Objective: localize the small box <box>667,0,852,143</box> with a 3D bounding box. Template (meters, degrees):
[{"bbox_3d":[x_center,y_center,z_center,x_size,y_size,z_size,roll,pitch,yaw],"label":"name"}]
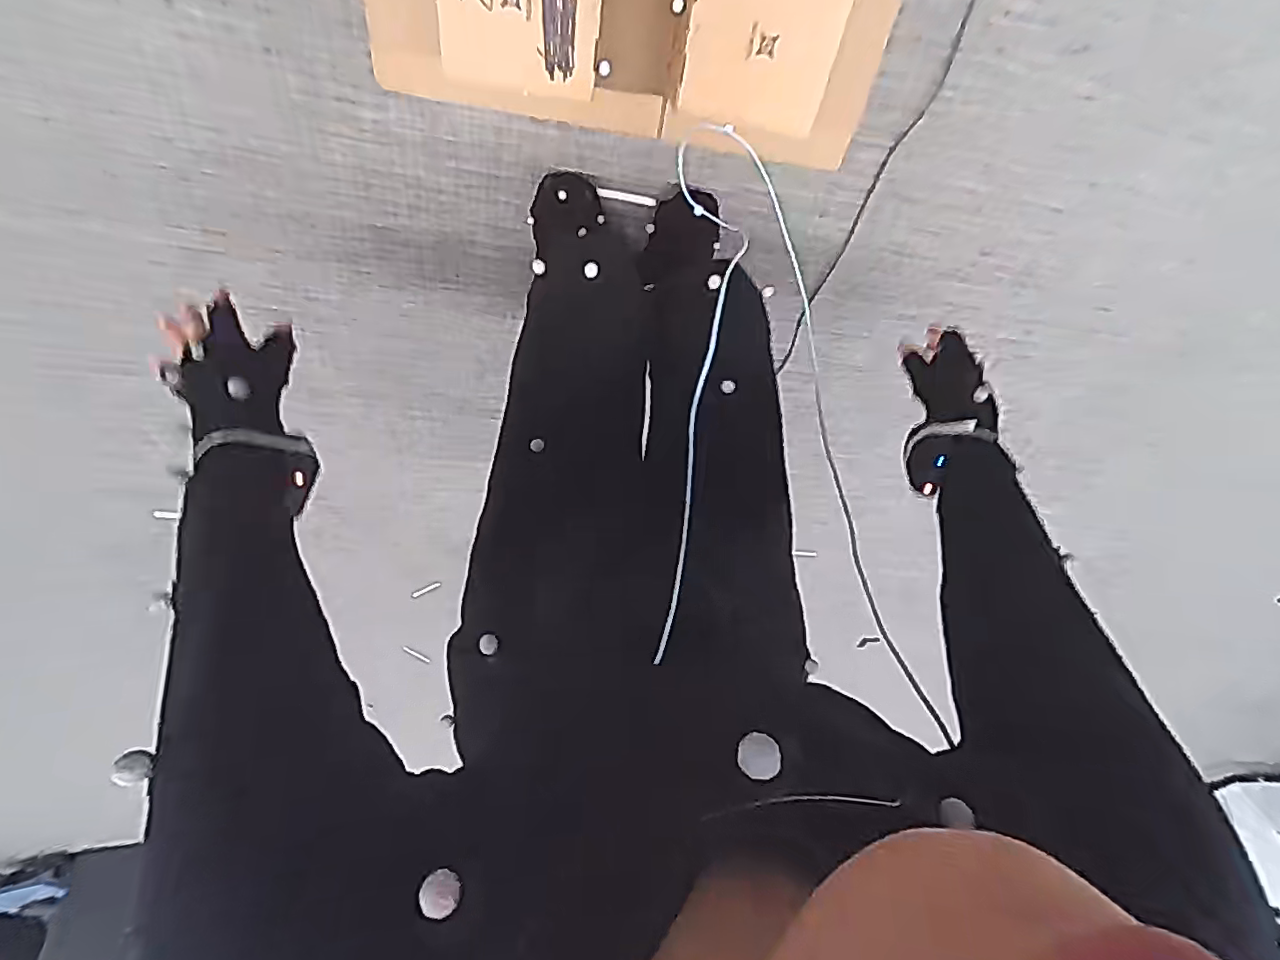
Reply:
[{"bbox_3d":[0.137,-0.555,0.683,0.179,0.176,0.168,7,133,-7],"label":"small box"}]
